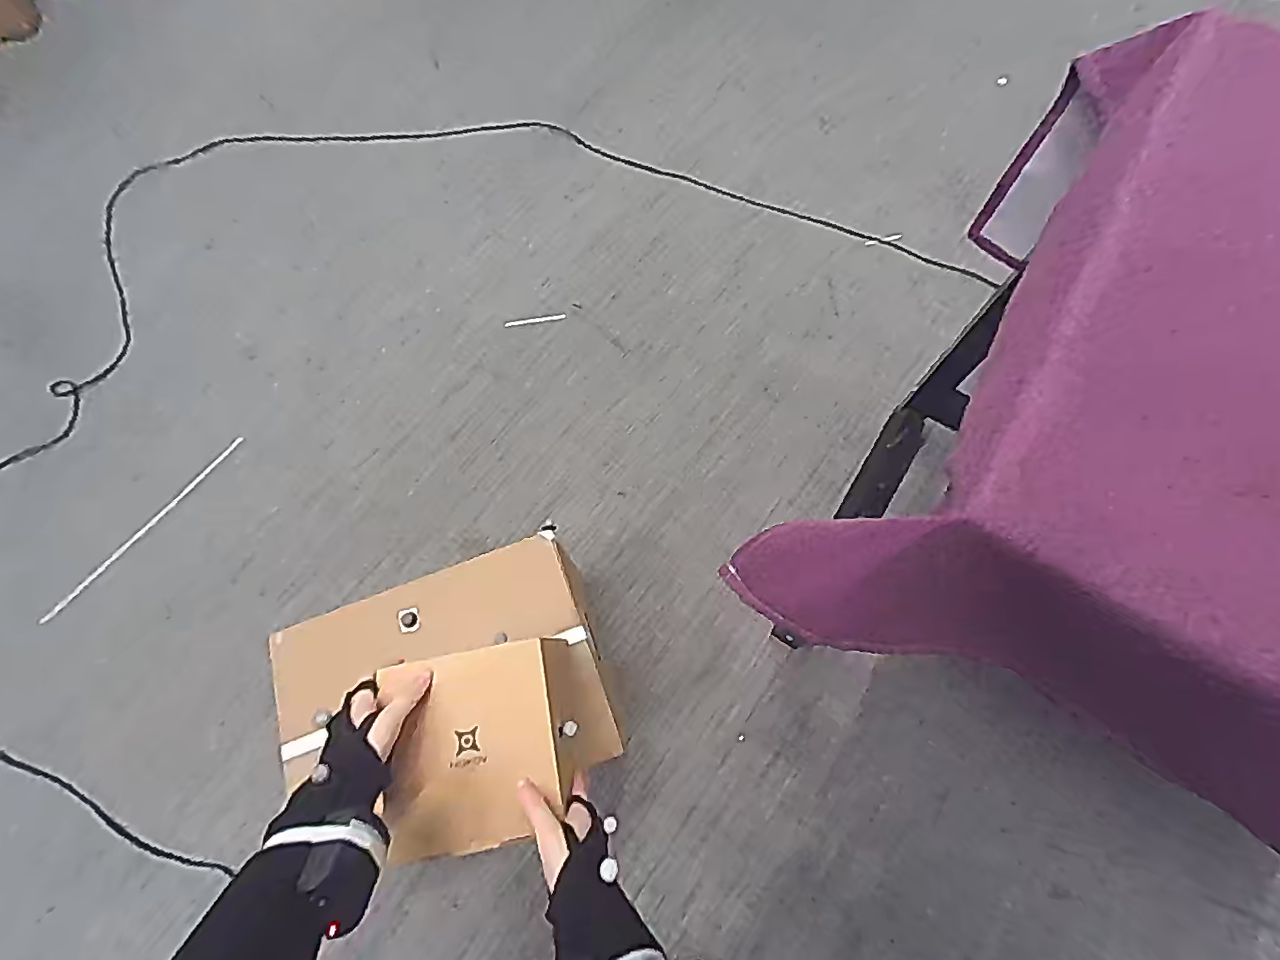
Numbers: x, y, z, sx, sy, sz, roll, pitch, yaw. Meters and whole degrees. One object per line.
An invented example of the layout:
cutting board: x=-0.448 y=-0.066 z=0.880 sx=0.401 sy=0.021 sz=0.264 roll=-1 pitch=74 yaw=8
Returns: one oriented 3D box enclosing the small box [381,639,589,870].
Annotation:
small box: x=-0.156 y=0.275 z=0.584 sx=0.168 sy=0.176 sz=0.179 roll=-11 pitch=75 yaw=-1
